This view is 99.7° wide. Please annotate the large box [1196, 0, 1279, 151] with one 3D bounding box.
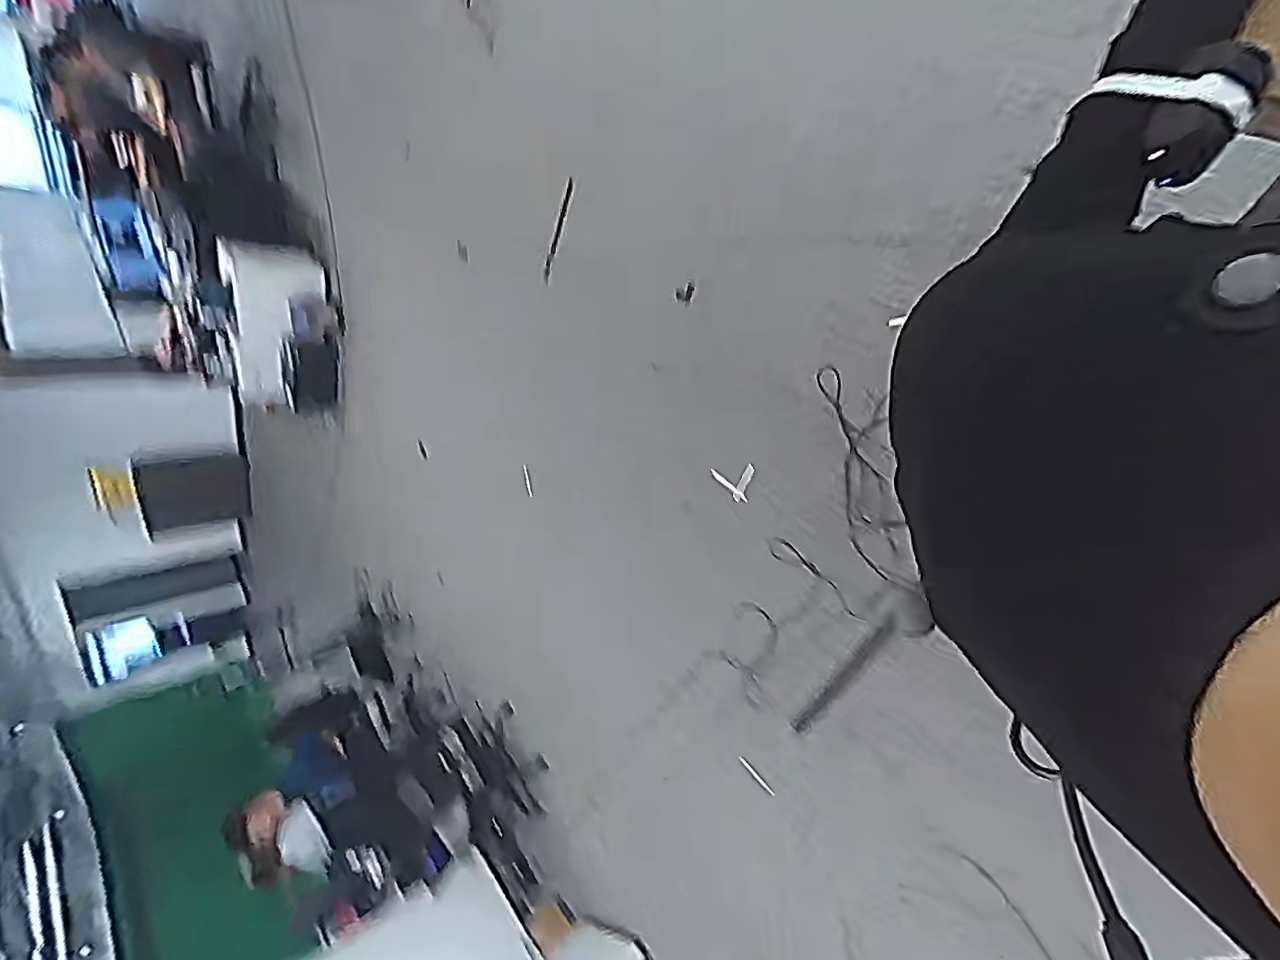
[{"bbox_3d":[0.663,-0.337,0.301,0.408,0.320,0.320,37,134,26],"label":"large box"}]
